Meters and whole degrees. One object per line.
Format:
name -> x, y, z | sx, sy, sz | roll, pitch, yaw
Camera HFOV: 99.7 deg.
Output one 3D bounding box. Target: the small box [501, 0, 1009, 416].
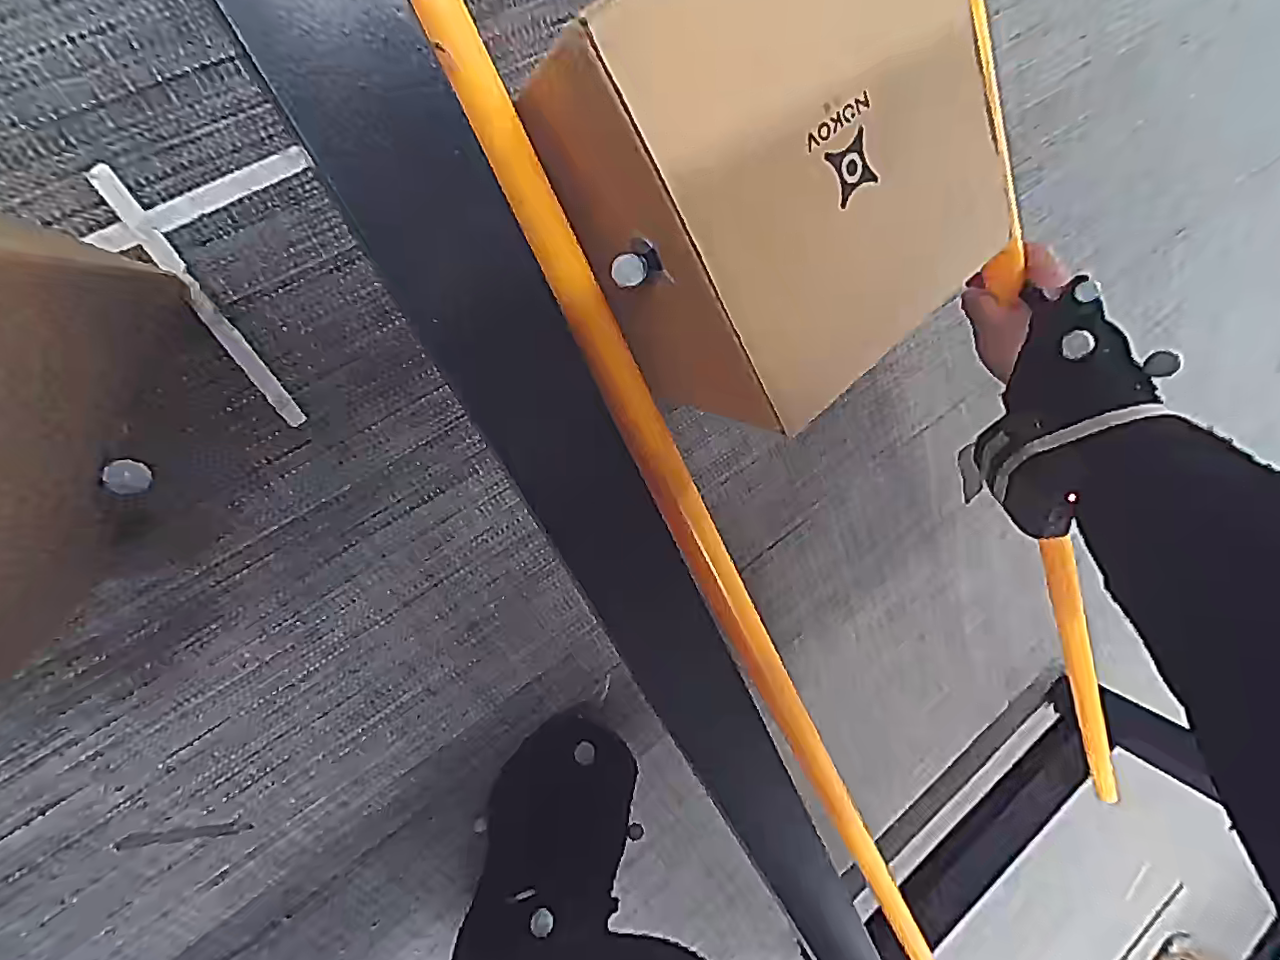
small box -> 0.052, -0.163, 0.293 | 0.168, 0.176, 0.179 | -40, 119, -10
